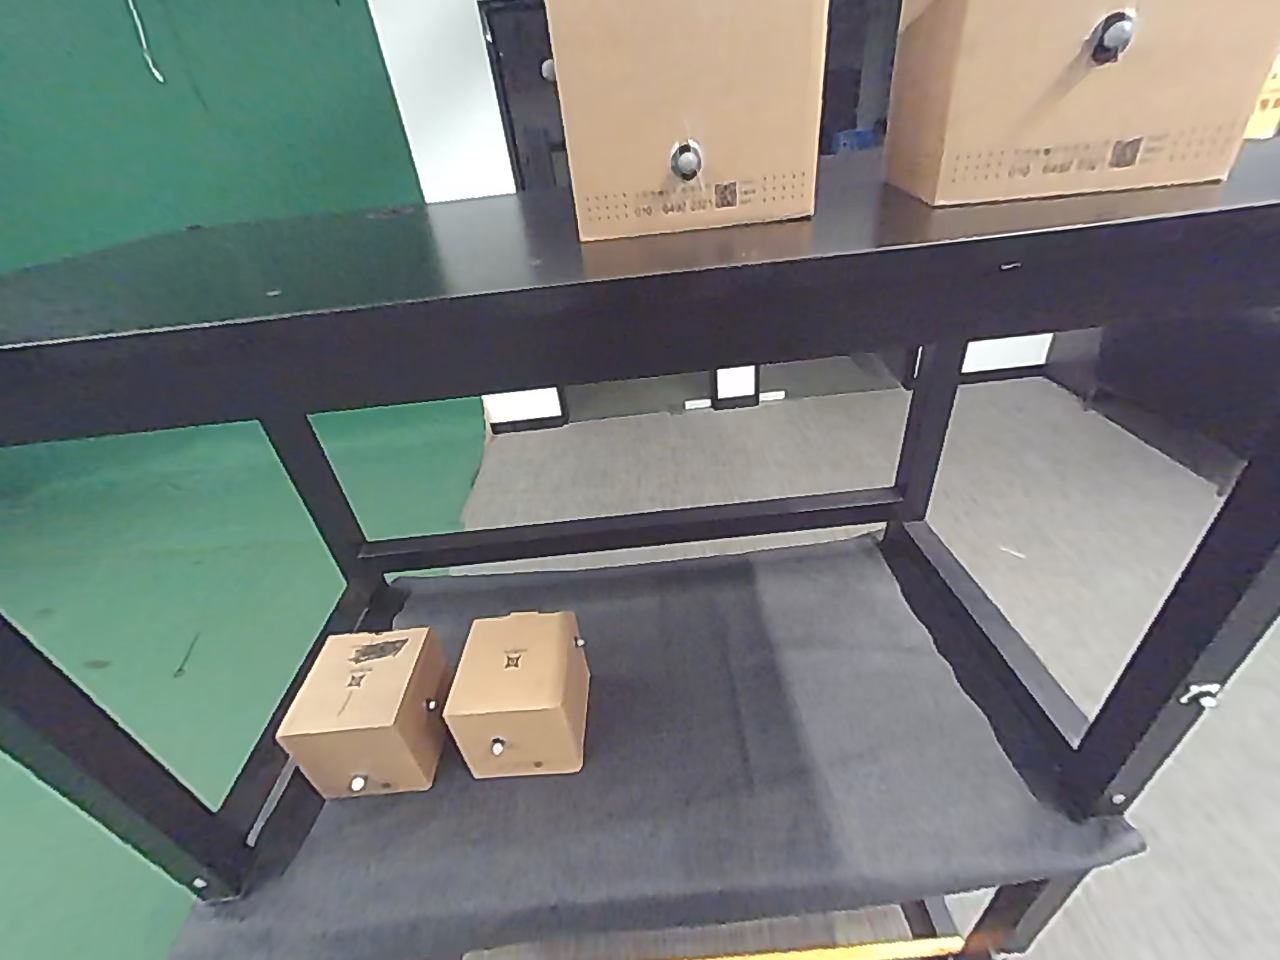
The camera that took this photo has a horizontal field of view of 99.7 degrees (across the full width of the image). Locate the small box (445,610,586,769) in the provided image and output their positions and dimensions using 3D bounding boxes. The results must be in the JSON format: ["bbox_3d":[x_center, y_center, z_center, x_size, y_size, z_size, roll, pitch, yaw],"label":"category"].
[{"bbox_3d":[-0.180,0.332,0.851,0.168,0.176,0.179,-5,32,2],"label":"small box"}]

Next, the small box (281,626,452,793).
[{"bbox_3d":[-0.406,0.356,0.848,0.168,0.176,0.179,-6,33,1],"label":"small box"}]

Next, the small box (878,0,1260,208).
[{"bbox_3d":[0.278,-0.295,0.381,0.168,0.176,0.179,1,33,11],"label":"small box"}]
